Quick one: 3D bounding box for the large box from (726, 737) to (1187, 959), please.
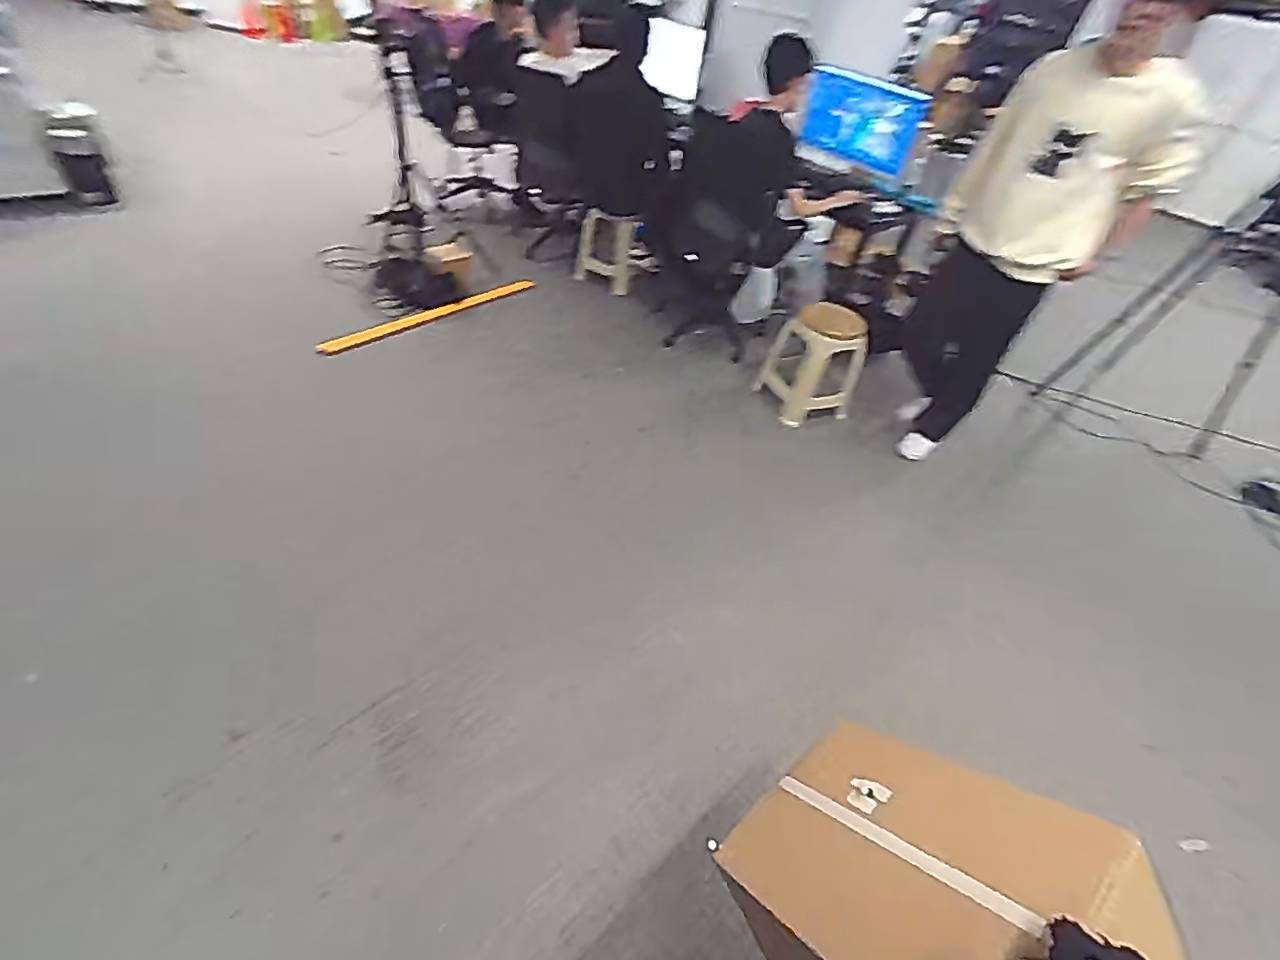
[{"bbox_3d":[0.397,0.613,0.697,0.320,0.408,0.320,-29,97,-27],"label":"large box"}]
